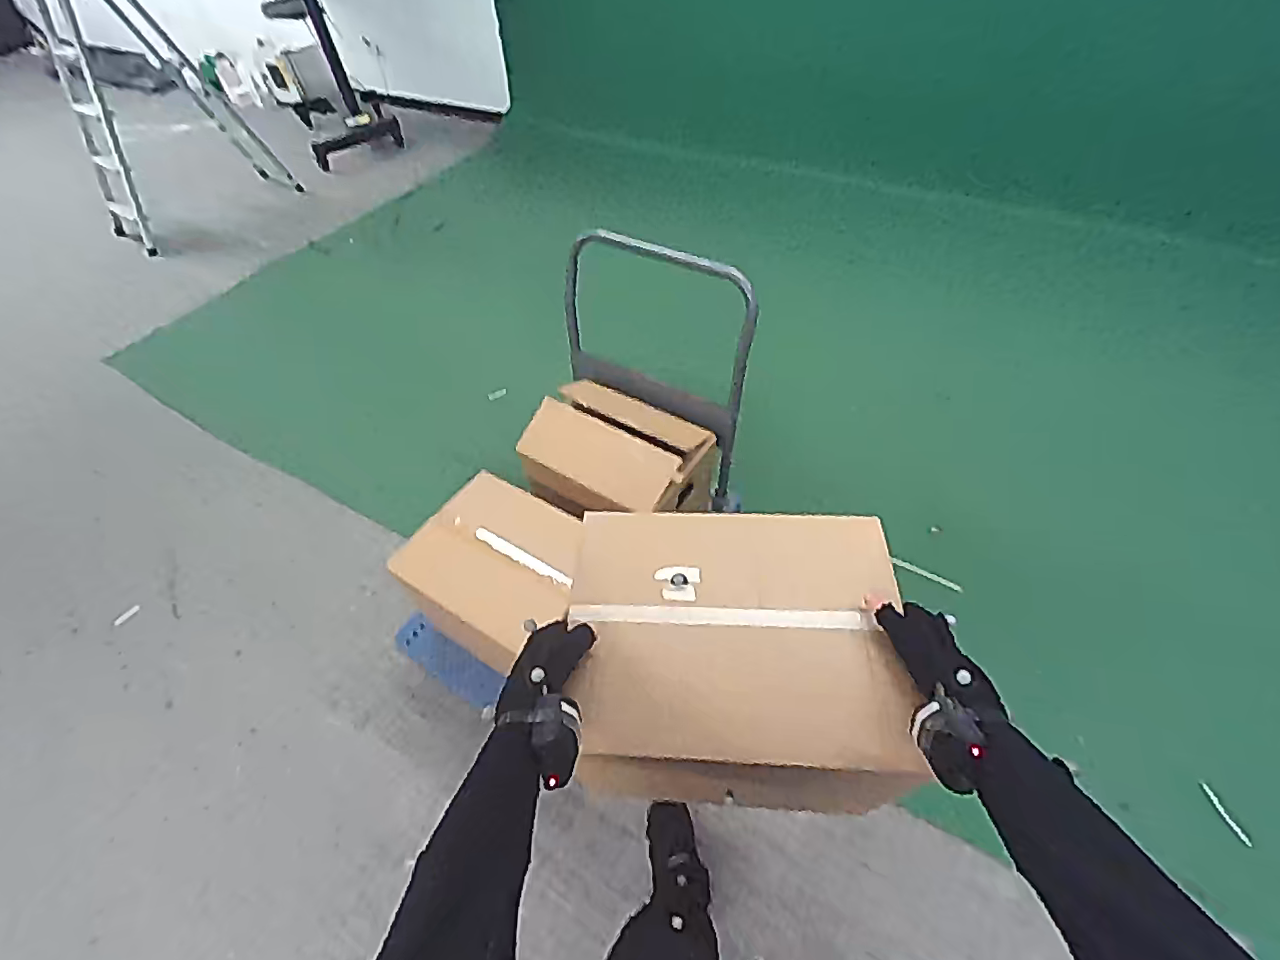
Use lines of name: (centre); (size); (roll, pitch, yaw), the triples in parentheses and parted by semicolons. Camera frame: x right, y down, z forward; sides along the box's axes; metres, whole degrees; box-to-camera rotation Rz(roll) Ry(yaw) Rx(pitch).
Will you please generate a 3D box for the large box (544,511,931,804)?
large box: (0.118, 0.256, 0.763); (0.408, 0.320, 0.320); (0, 51, 7)
